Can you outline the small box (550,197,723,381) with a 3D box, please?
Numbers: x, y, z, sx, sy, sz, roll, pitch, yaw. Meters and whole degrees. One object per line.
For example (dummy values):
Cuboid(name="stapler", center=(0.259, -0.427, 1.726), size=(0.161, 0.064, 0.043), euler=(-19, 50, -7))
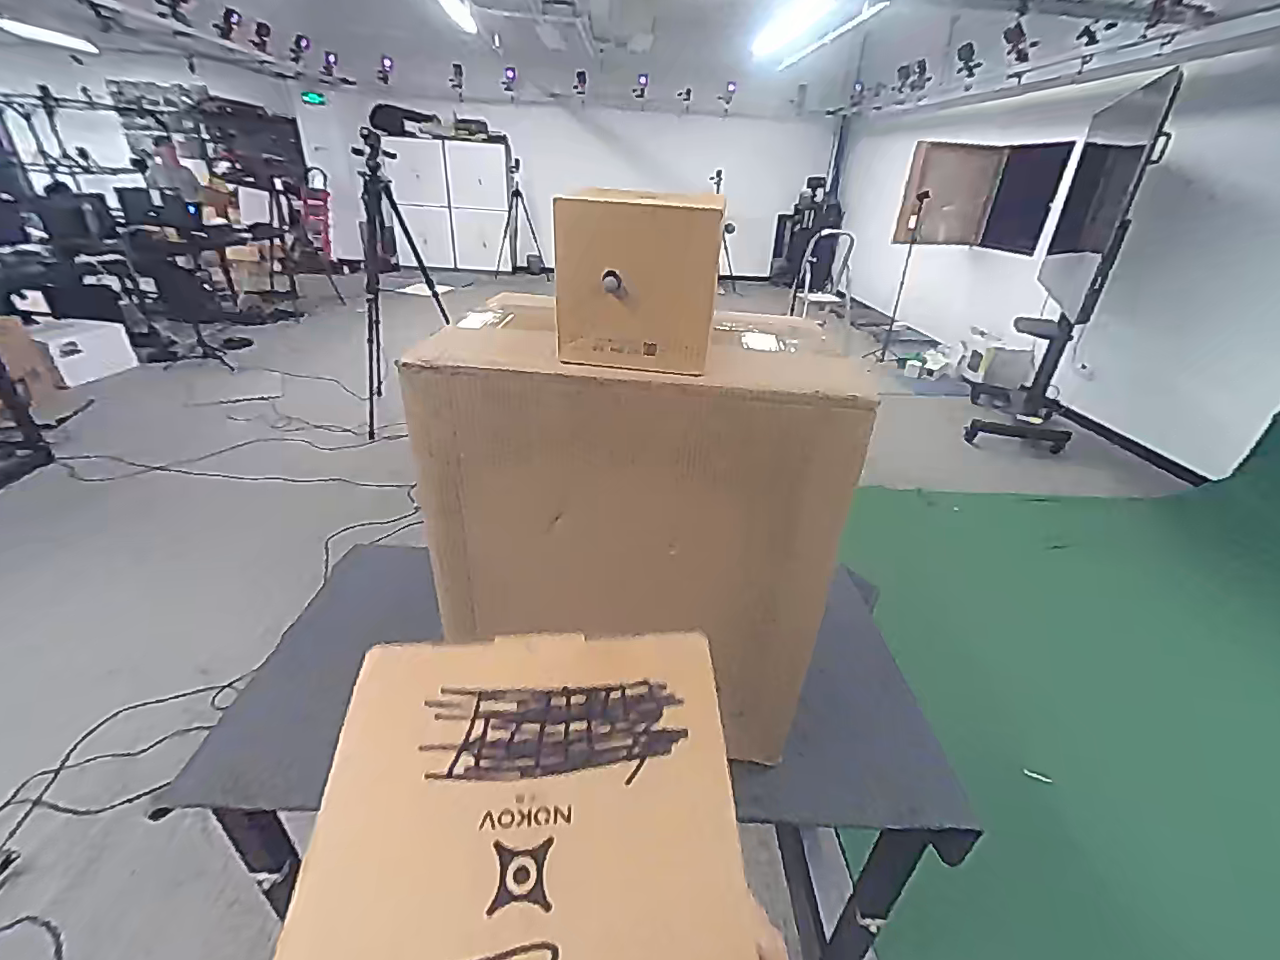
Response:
Cuboid(name="small box", center=(0.003, -0.224, 0.623), size=(0.168, 0.176, 0.179), euler=(7, 31, 6))
